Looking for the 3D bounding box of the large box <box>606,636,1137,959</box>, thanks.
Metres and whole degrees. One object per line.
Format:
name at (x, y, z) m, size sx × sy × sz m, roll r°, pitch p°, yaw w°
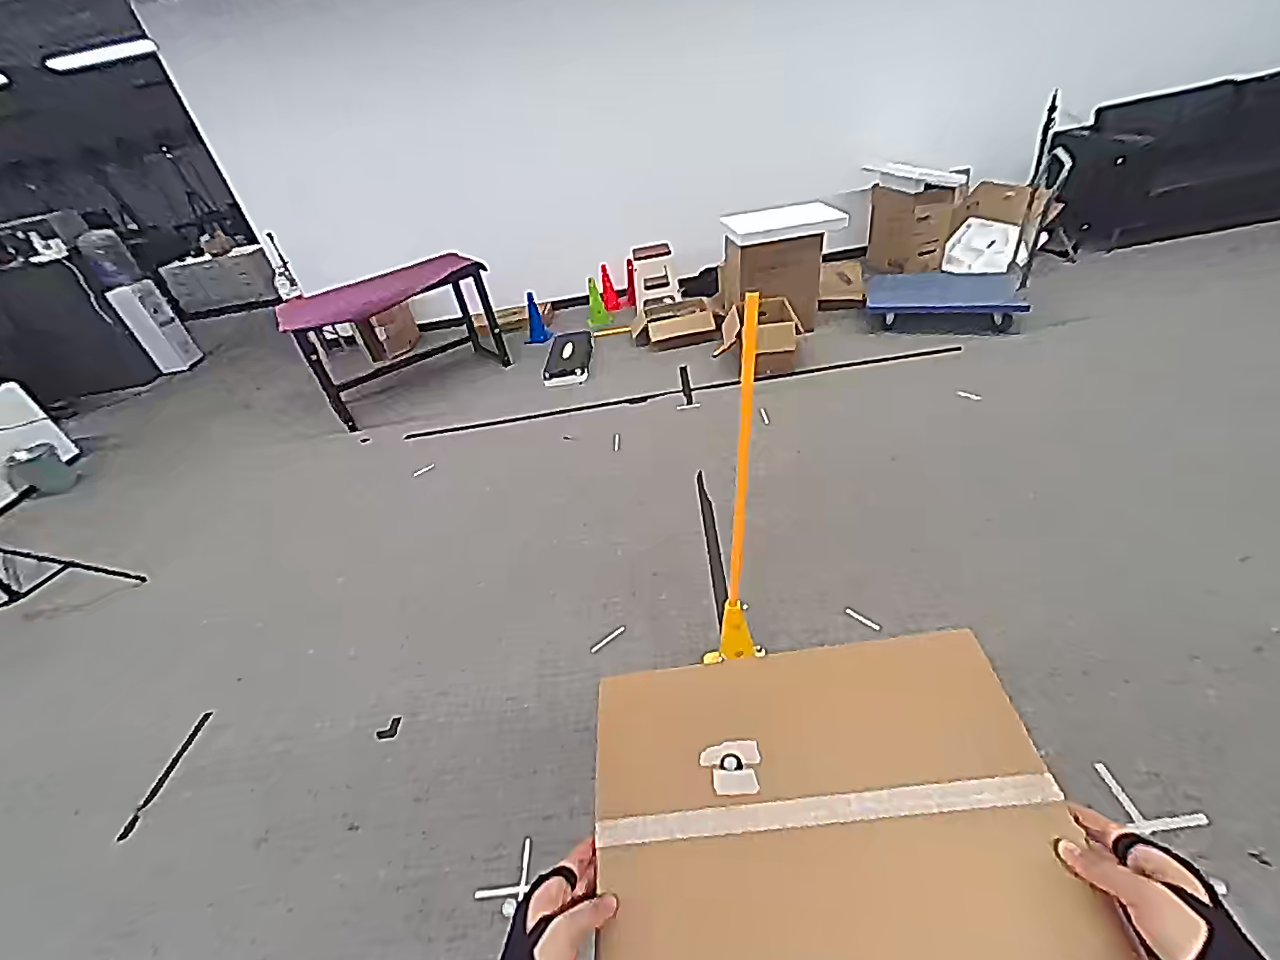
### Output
large box at (0.196, 0.414, 0.594) m, size 0.408 × 0.320 × 0.320 m, roll -11°, pitch 42°, yaw 8°
